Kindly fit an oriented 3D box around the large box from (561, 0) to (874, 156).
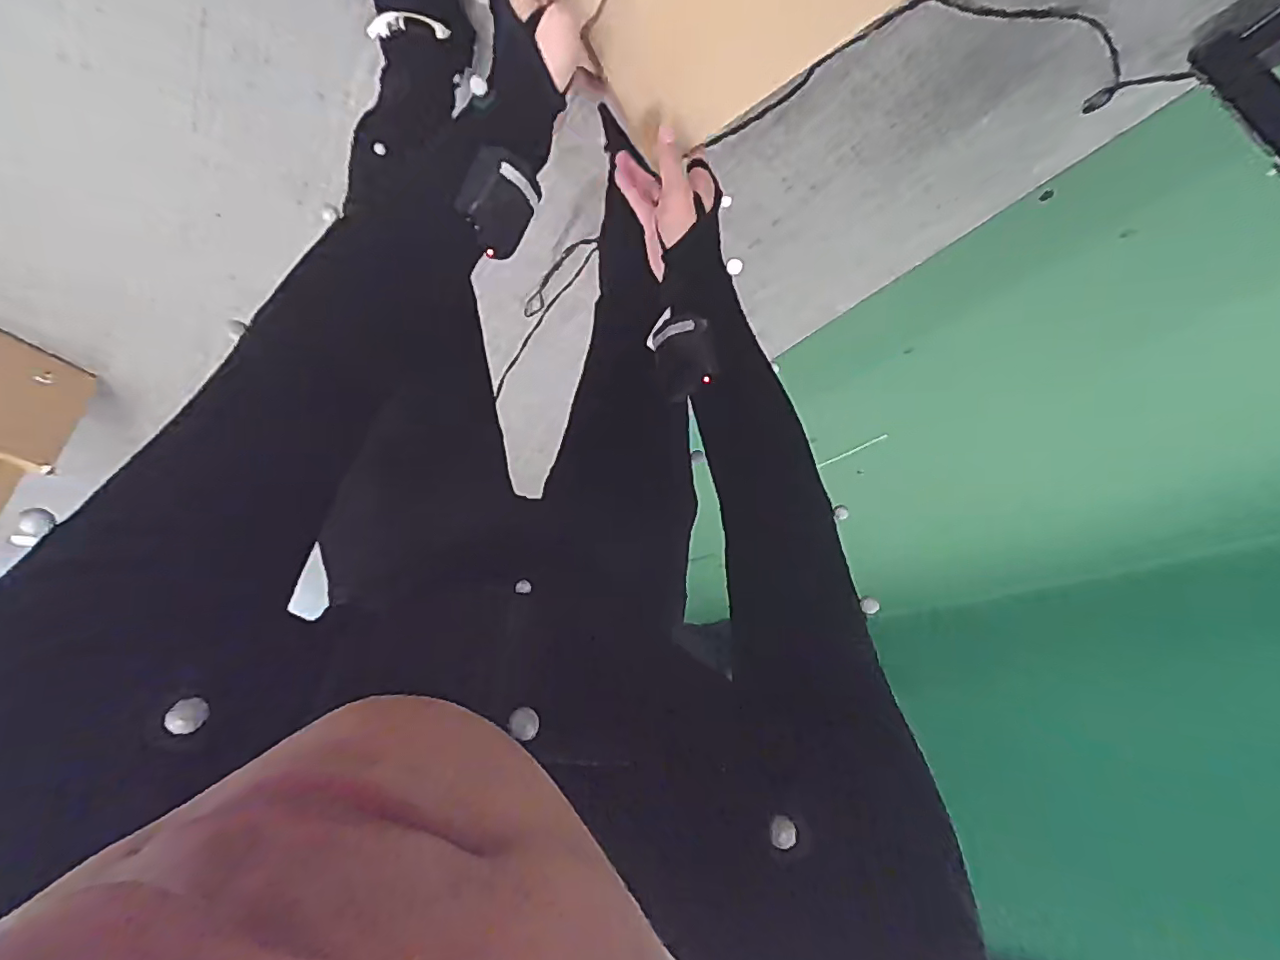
[{"bbox_3d":[0.075,-0.586,0.456,0.408,0.320,0.320,-30,141,14],"label":"large box"}]
